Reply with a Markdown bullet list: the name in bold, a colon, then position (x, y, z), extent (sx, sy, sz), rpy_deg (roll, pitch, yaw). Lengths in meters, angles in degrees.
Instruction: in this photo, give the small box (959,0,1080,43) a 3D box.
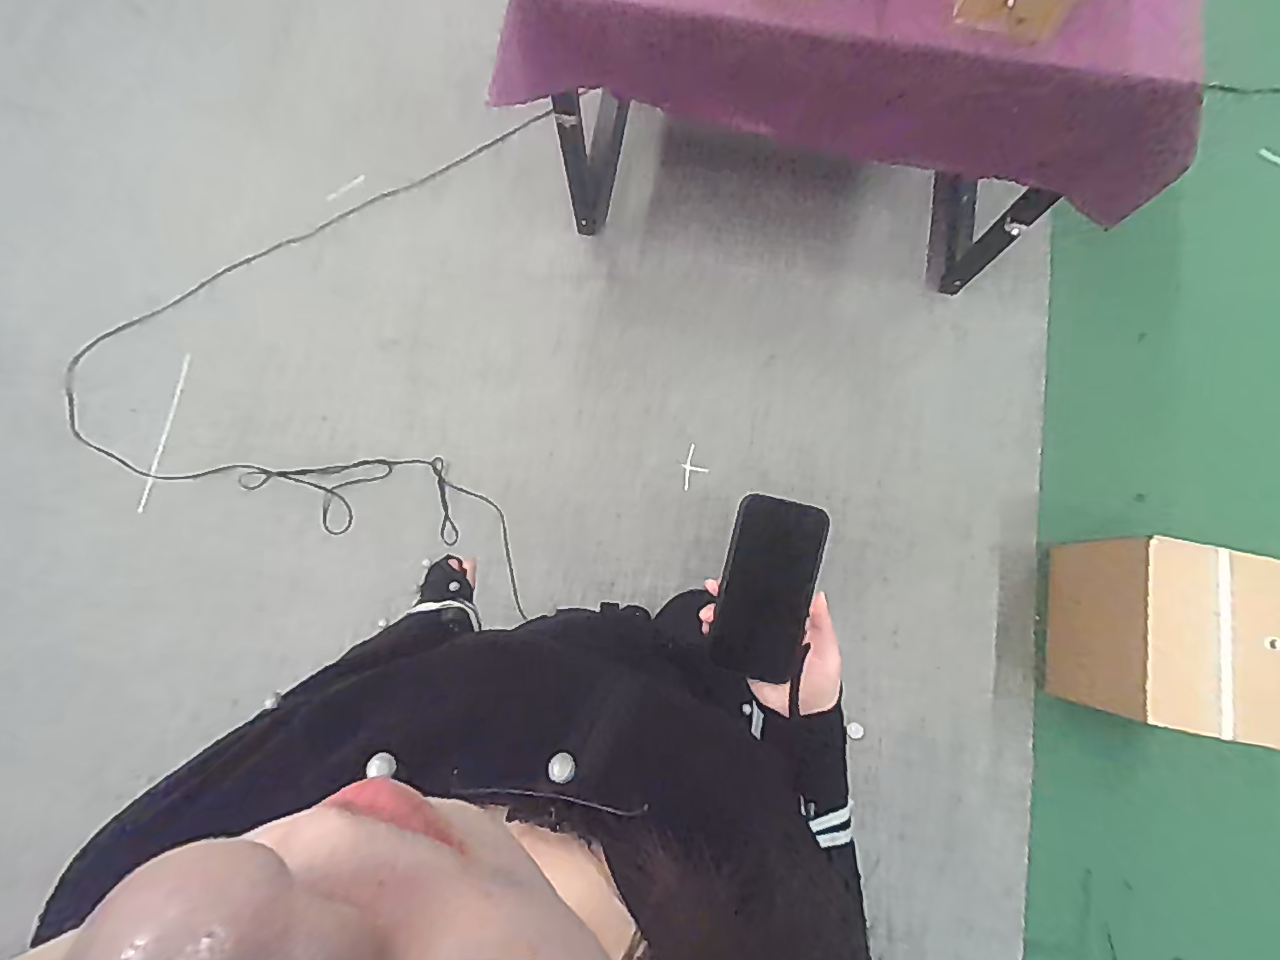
- **small box**: position (0.651, -0.872, 0.876), extent (0.168, 0.176, 0.179), rpy_deg (15, 80, 3)
